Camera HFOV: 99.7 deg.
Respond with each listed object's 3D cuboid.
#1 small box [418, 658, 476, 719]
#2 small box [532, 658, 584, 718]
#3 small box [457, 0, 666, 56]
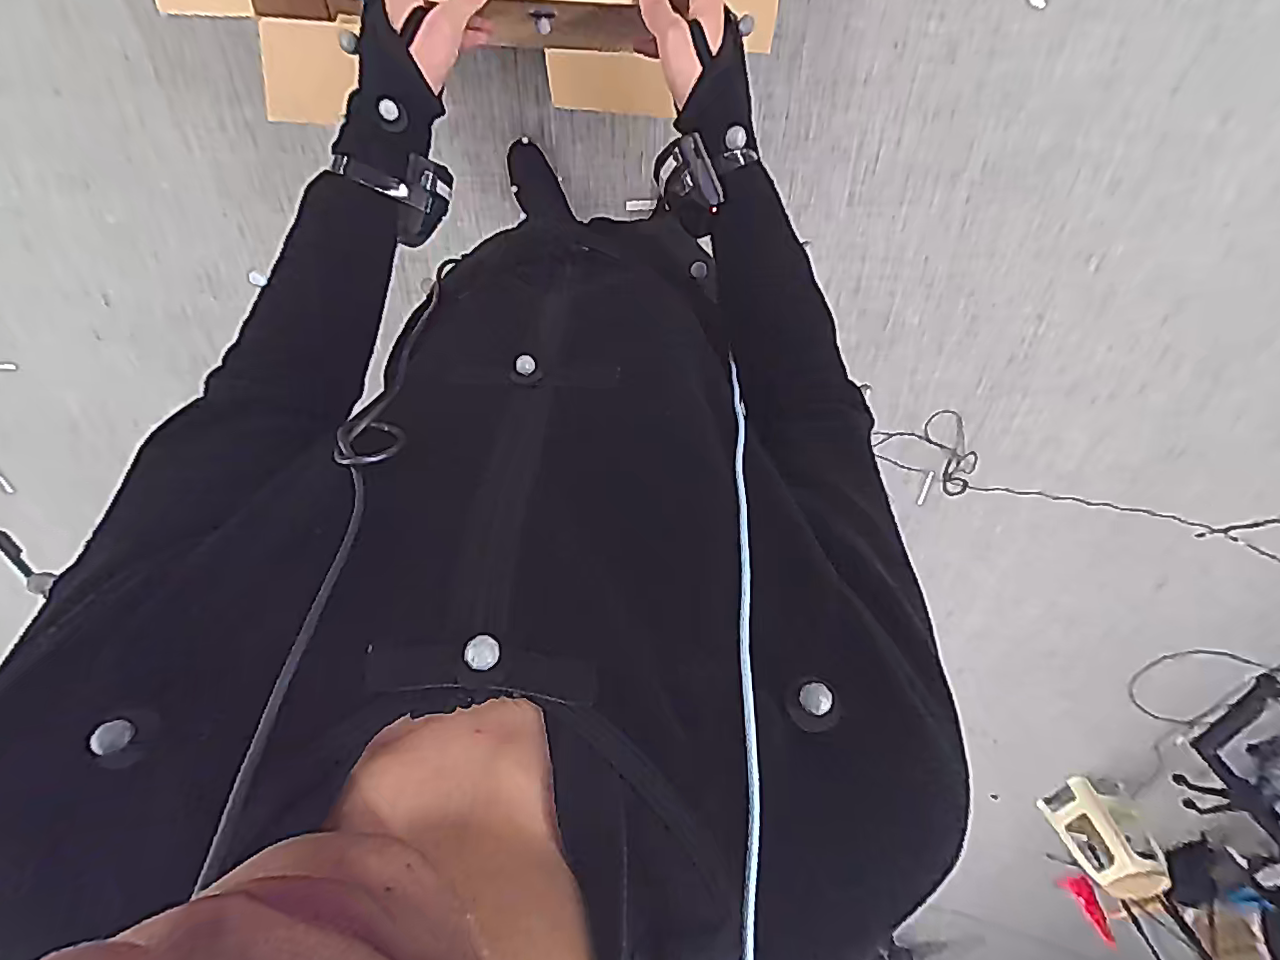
[{"bbox_3d":[-0.769,0.832,2.166,0.168,0.176,0.179,1,126,-1],"label":"small box"},{"bbox_3d":[-0.324,0.831,2.170,0.179,0.176,0.168,-1,125,1],"label":"small box"},{"bbox_3d":[-0.069,-0.473,0.448,0.179,0.176,0.168,-1,118,-6],"label":"small box"}]
